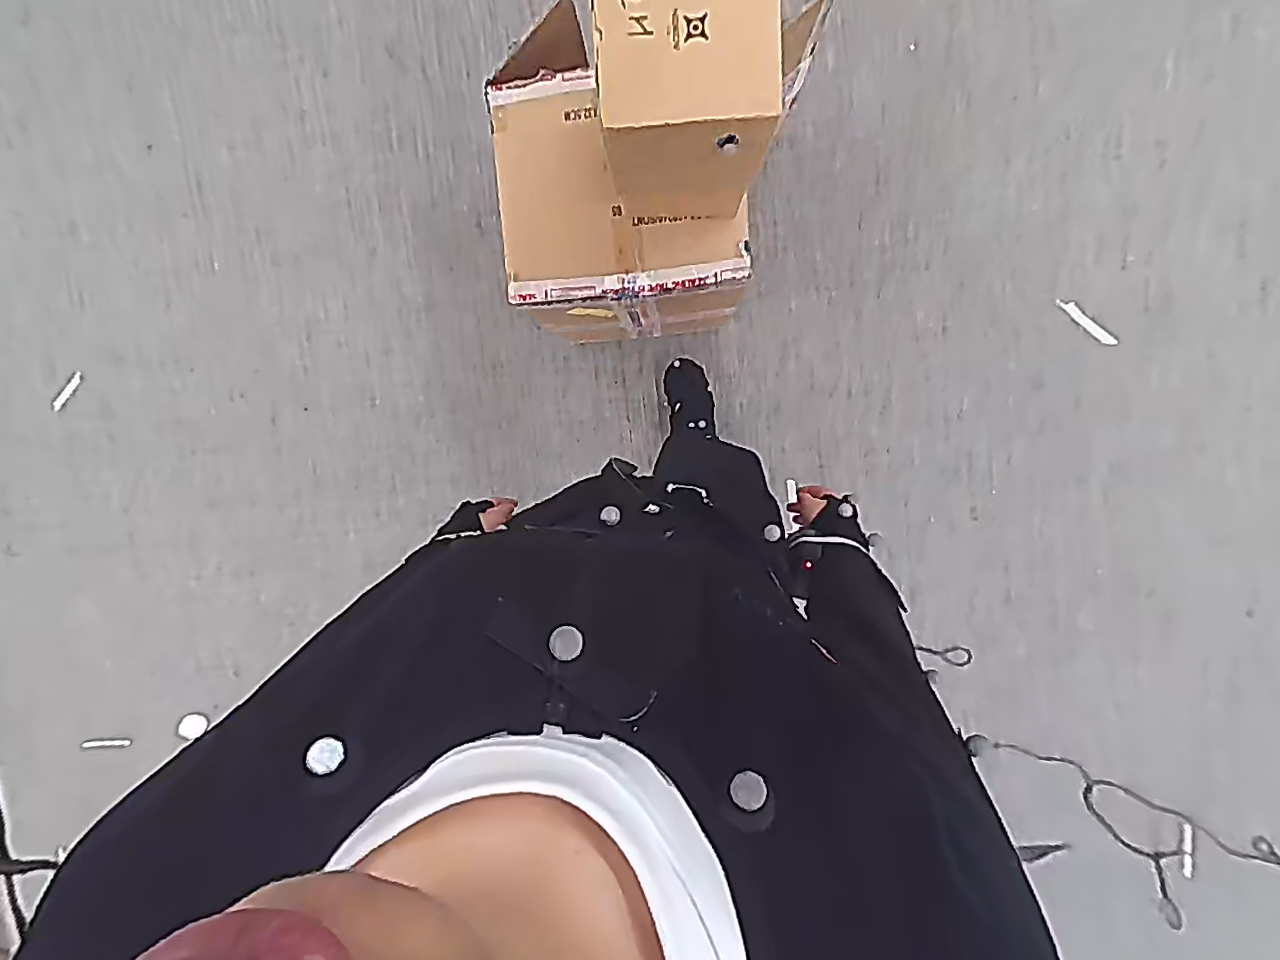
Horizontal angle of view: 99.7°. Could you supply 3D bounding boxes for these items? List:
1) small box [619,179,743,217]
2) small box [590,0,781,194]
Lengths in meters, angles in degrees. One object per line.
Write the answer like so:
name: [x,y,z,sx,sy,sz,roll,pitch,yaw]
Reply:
small box: [0.055,-0.472,0.737,0.179,0.176,0.168,0,98,3]
small box: [0.045,-0.426,0.578,0.179,0.176,0.168,-2,97,3]
